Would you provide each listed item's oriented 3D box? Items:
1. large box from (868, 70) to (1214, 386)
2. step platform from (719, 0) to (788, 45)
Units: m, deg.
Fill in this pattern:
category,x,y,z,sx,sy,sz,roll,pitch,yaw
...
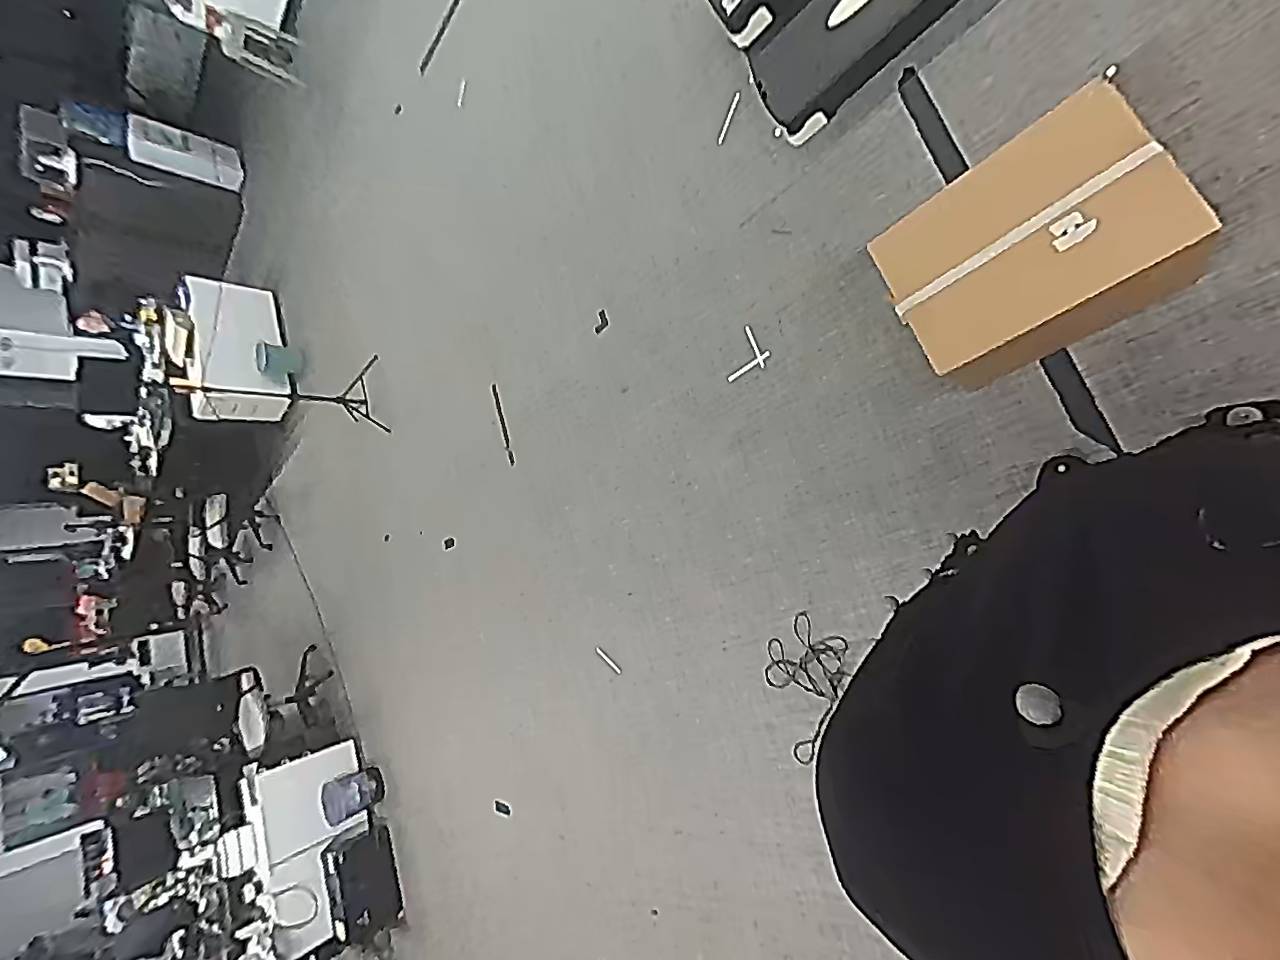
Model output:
category,x,y,z,sx,sy,sz,roll,pitch,yaw
large box,0.736,-0.427,1.039,0.408,0.320,0.320,-32,72,38
step platform,0.468,-1.450,1.292,0.684,0.204,0.286,-23,77,40
